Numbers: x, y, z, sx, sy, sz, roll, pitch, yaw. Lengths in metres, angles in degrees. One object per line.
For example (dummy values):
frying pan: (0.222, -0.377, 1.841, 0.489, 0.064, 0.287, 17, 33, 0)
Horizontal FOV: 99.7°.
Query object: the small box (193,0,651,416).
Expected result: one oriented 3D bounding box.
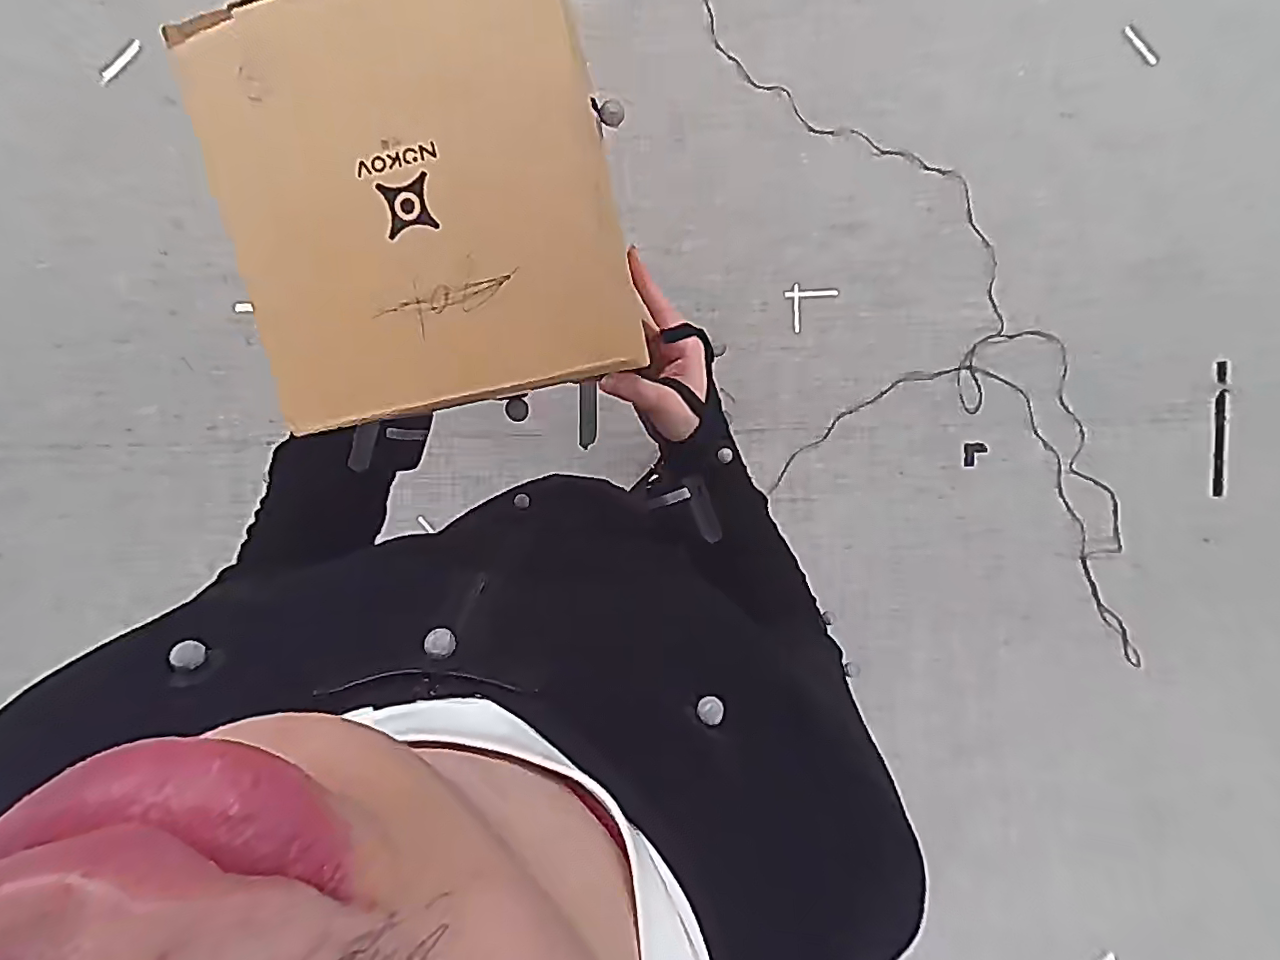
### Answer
small box: (-0.092, -0.143, 0.319, 0.168, 0.176, 0.179, -12, 100, 7)
